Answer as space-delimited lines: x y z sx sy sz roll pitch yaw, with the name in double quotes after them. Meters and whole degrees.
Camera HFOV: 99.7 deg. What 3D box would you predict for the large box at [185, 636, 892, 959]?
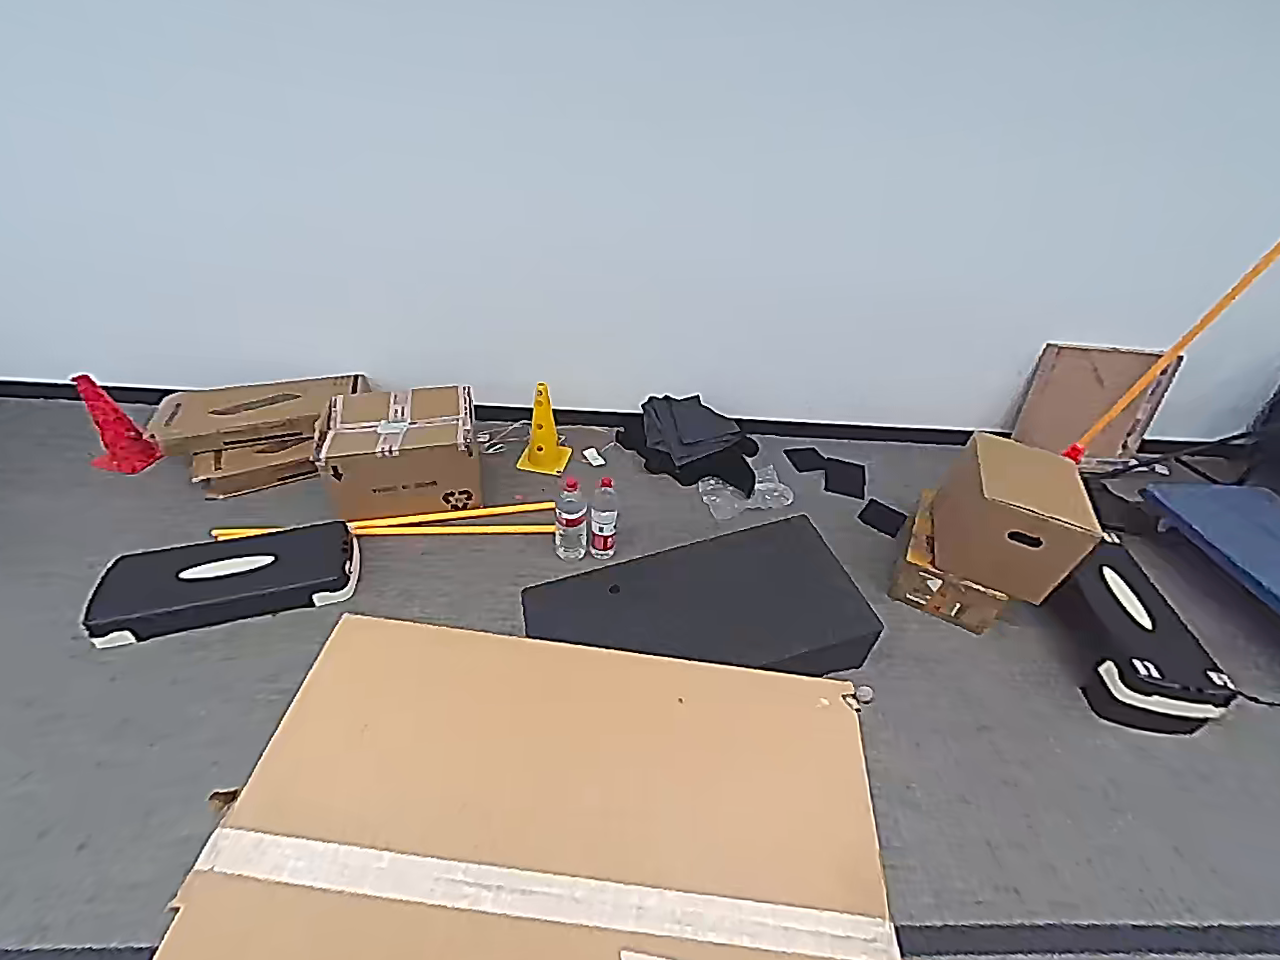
-0.060 0.358 0.430 0.408 0.320 0.320 8 47 1 "large box"
